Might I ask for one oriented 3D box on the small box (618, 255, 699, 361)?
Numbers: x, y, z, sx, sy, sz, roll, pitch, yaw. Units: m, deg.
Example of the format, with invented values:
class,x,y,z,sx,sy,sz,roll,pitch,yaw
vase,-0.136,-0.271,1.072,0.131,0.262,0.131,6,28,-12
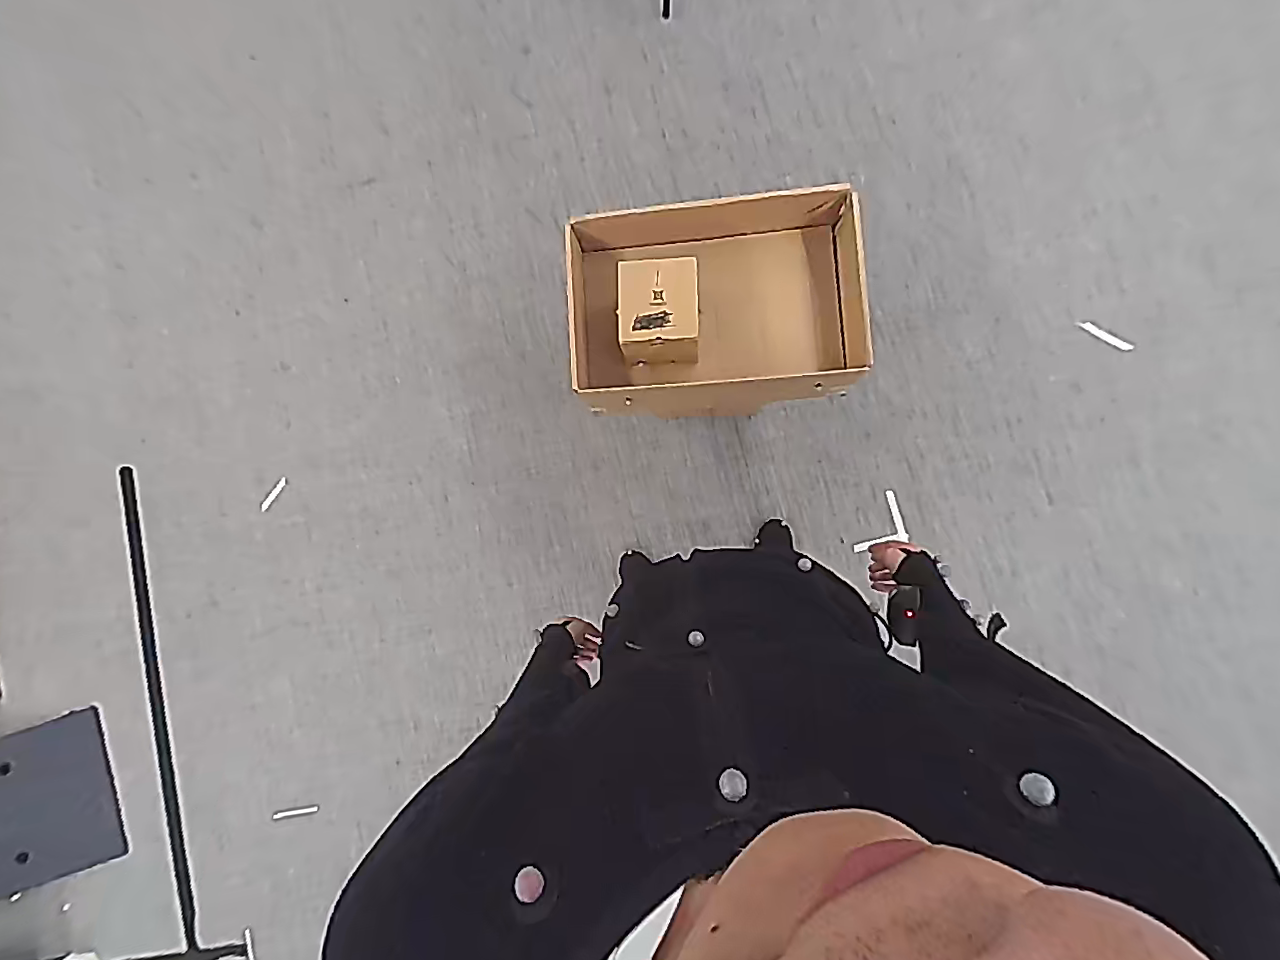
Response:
class,x,y,z,sx,sy,sz,roll,pitch,yaw
small box,0.045,-0.366,1.183,0.168,0.176,0.179,-1,85,6
